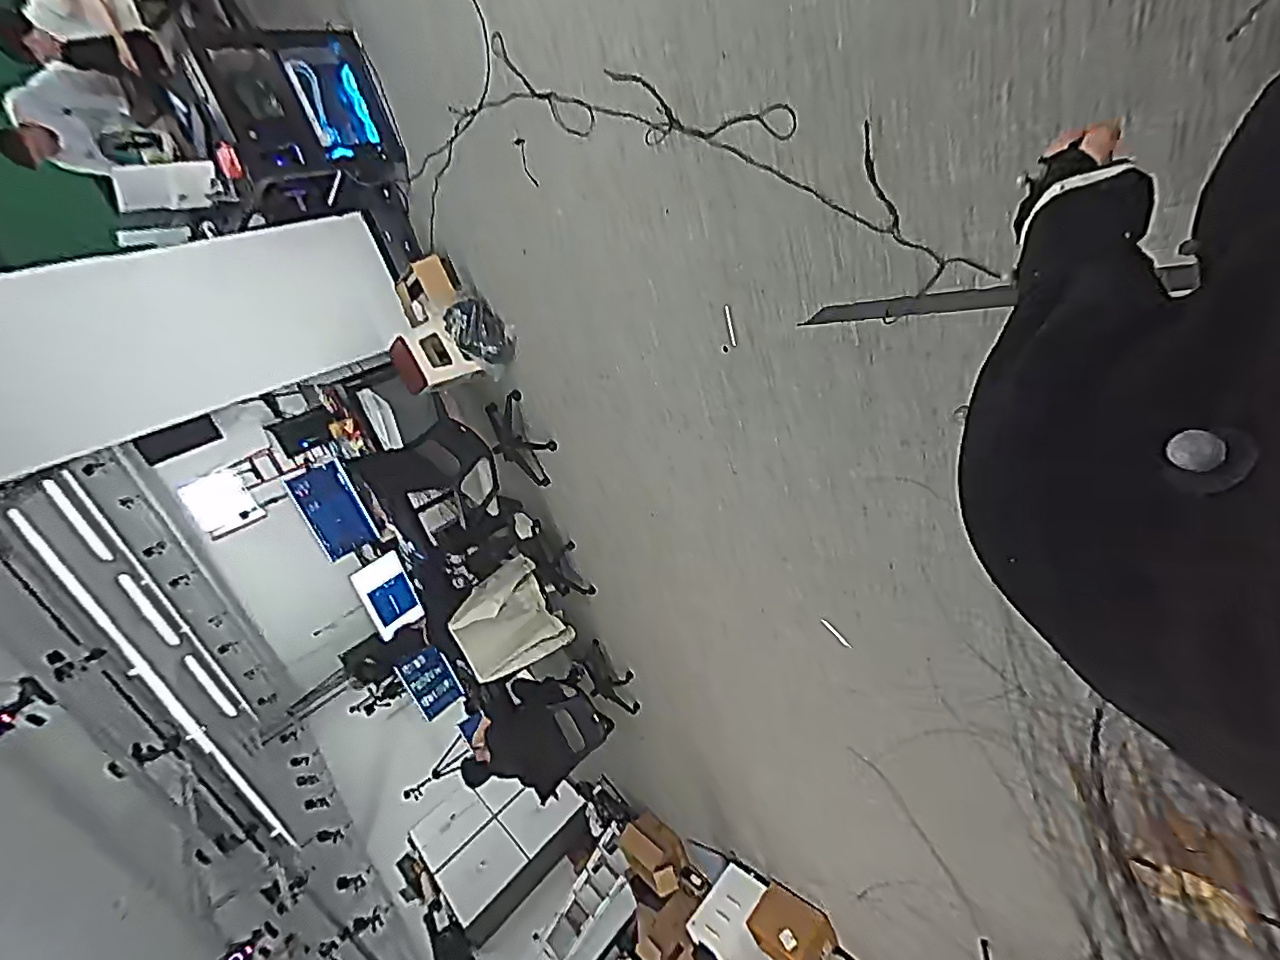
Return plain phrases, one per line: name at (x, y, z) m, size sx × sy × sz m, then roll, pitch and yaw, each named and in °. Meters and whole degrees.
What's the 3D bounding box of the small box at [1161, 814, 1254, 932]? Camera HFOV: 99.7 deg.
small box at (1.594, 1.092, 1.520) m, size 0.168 × 0.176 × 0.179 m, roll 7°, pitch 125°, yaw 50°
